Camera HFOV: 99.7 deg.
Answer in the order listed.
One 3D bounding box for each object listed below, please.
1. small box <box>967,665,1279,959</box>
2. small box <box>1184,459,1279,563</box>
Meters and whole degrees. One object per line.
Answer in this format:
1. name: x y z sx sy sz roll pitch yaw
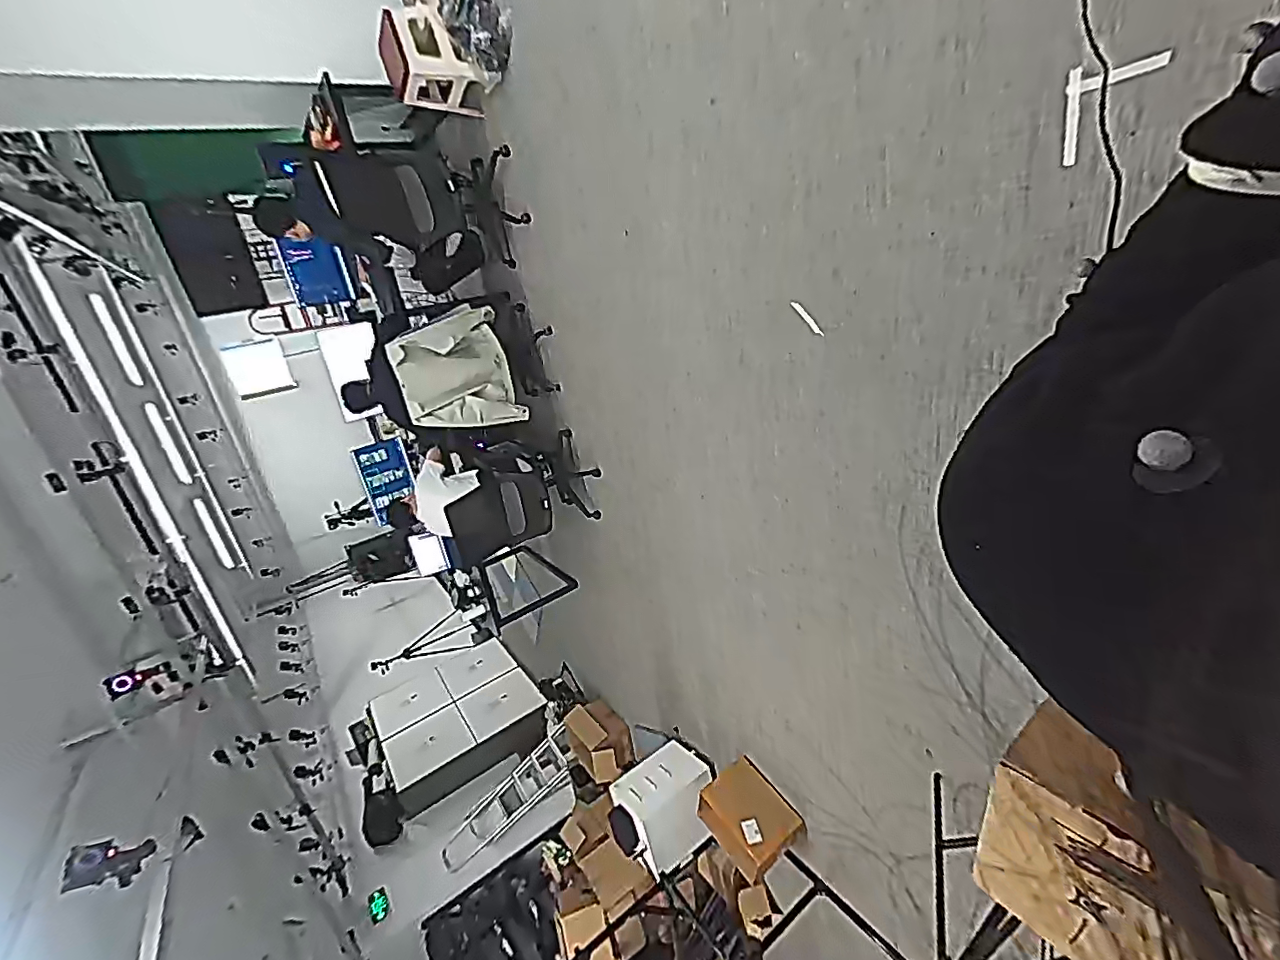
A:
1. small box: 0.424 0.301 0.476 0.168 0.176 0.179 25 130 50
2. small box: 0.950 0.079 0.798 0.179 0.176 0.168 21 126 53
